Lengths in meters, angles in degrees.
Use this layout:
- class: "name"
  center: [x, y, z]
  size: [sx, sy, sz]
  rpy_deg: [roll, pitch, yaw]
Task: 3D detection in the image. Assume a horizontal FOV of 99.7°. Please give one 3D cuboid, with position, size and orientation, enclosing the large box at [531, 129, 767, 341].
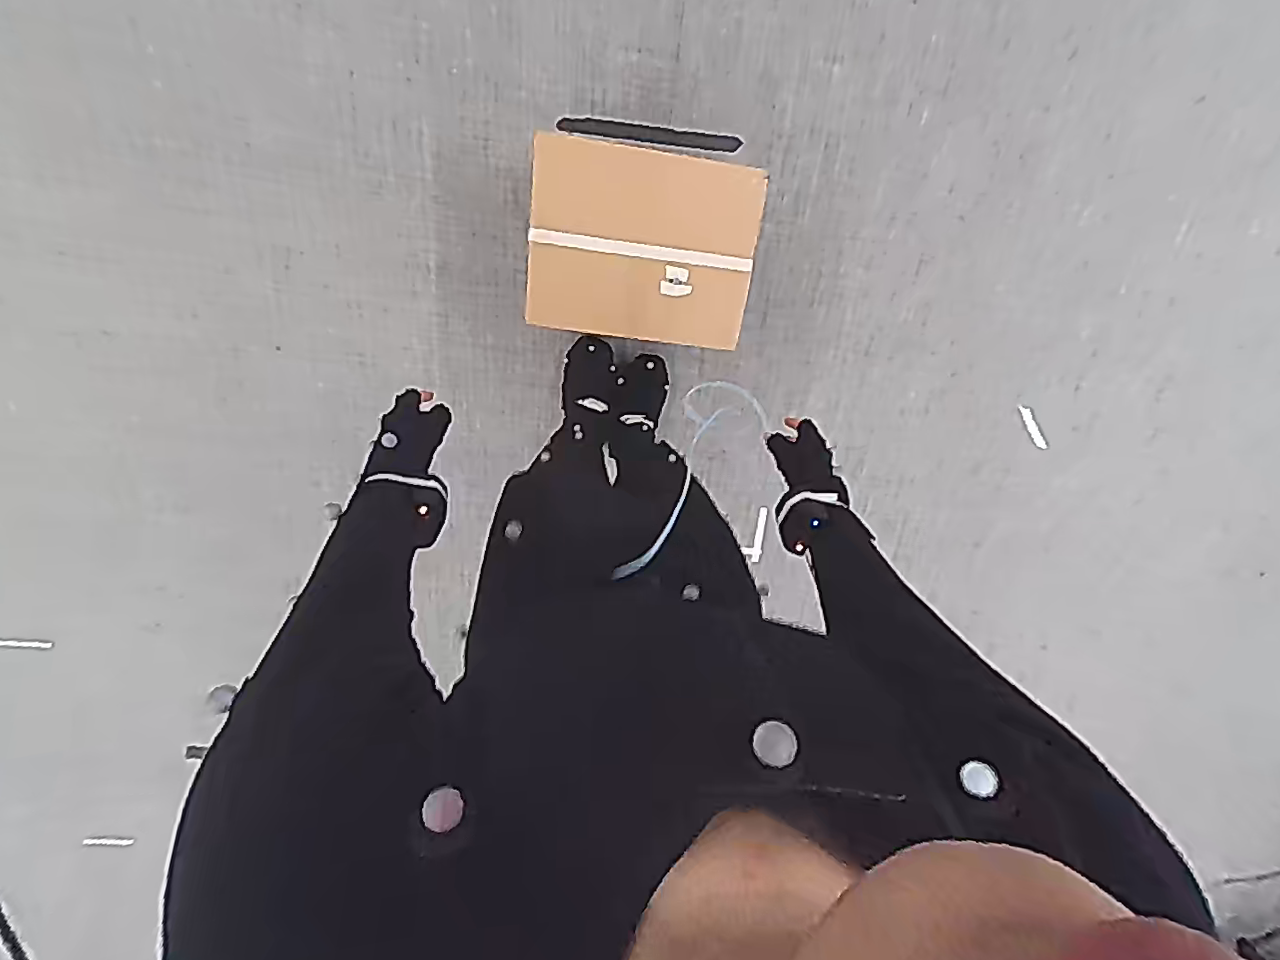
- class: "large box"
  center: [-0.004, -0.484, 1.114]
  size: [0.408, 0.320, 0.320]
  rpy_deg: [6, 113, -7]
